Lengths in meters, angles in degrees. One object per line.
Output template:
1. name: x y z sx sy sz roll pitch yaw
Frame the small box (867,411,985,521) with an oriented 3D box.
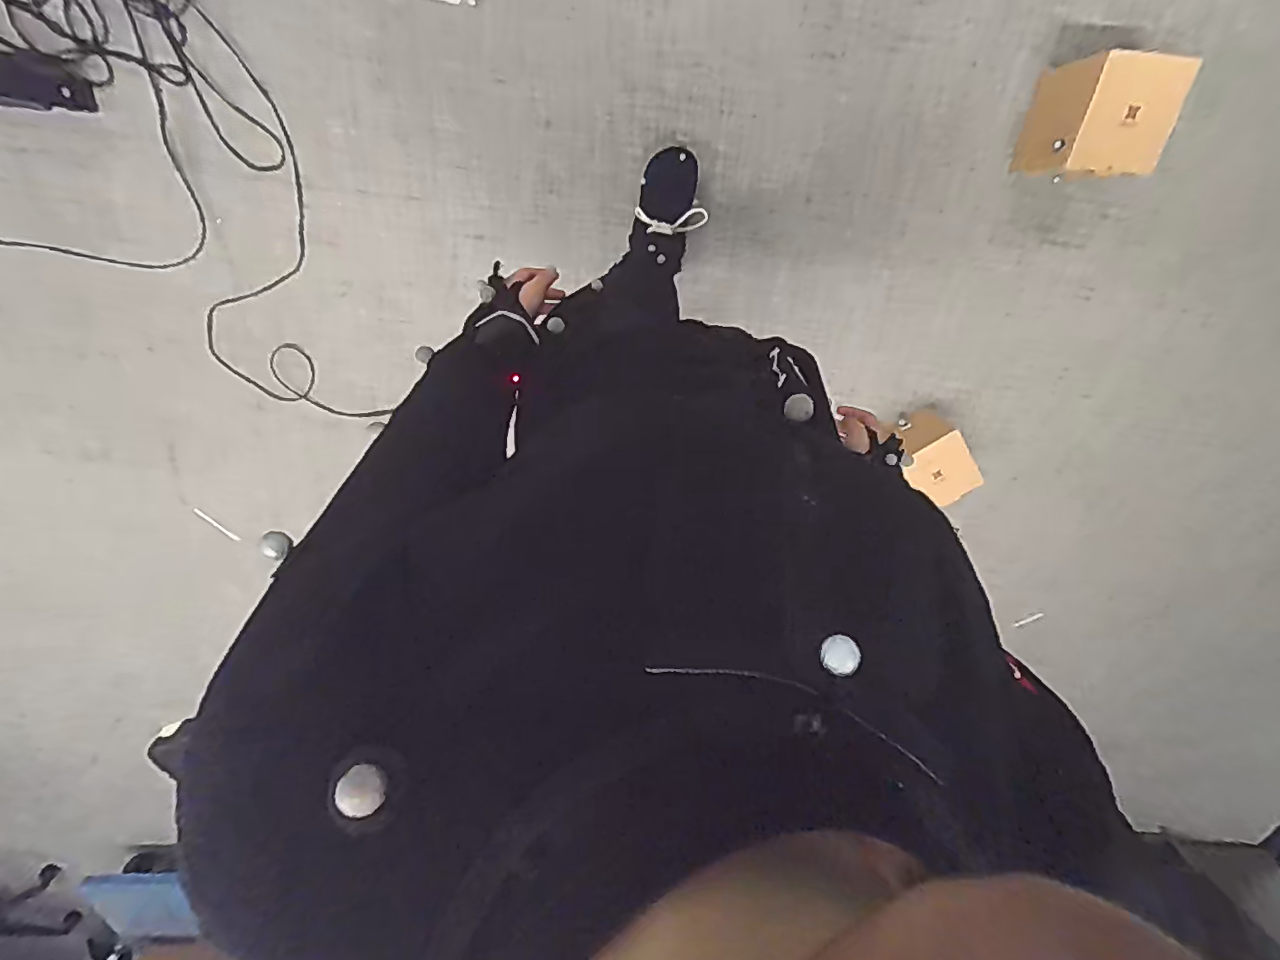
1. small box: 0.692 -0.040 1.324 0.168 0.176 0.179 -34 112 15

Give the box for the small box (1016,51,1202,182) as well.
1. small box: 0.847 -0.661 1.002 0.168 0.176 0.179 3 118 -2
